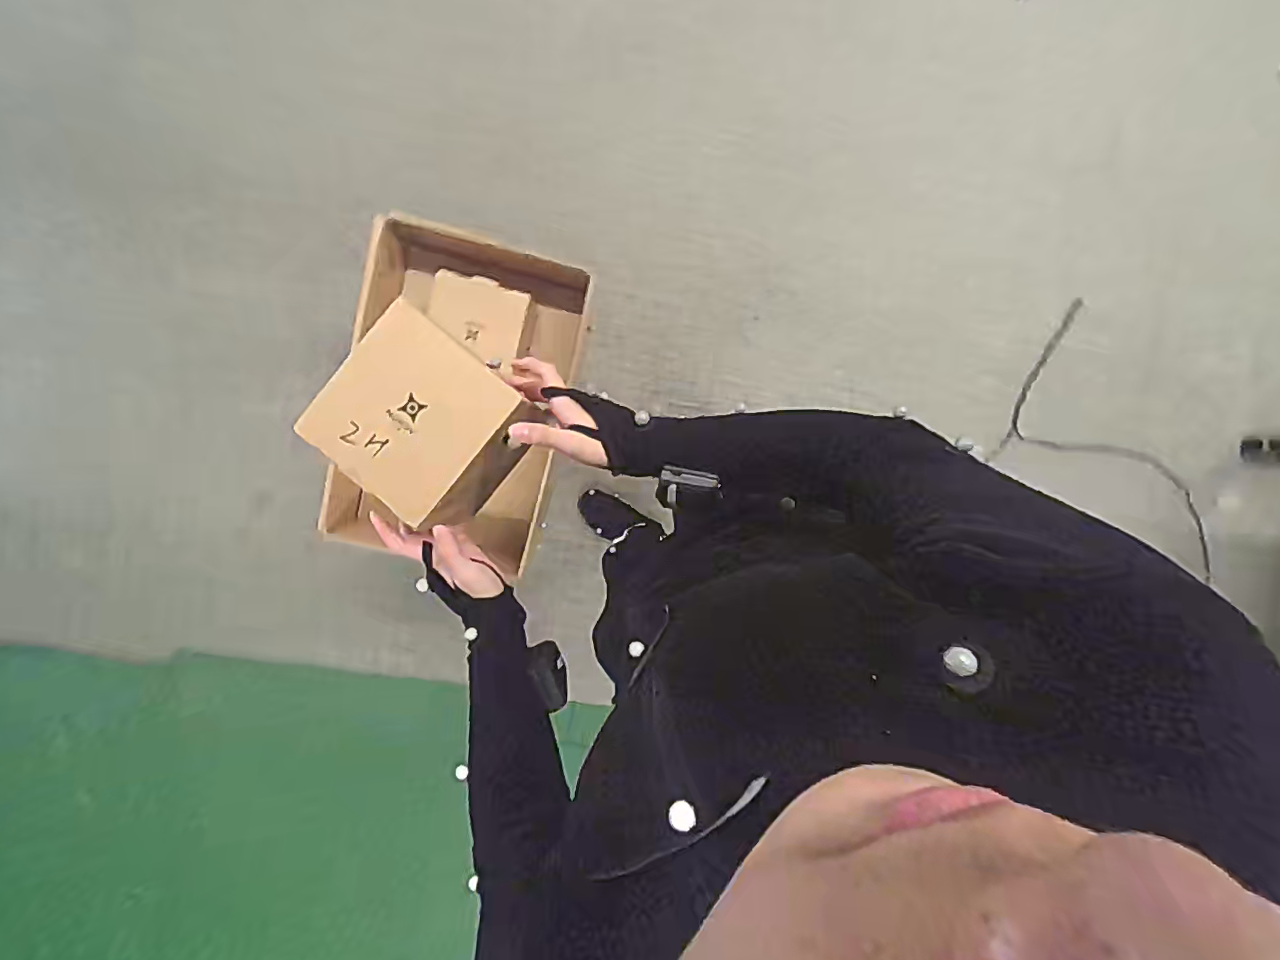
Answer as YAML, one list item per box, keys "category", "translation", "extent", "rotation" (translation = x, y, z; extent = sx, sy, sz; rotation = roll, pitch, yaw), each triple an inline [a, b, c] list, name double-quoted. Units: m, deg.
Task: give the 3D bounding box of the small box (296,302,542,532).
- category: "small box"
  translation: [-0.230, -0.064, 0.620]
  extent: [0.168, 0.176, 0.179]
  rotation: [39, 91, 1]
